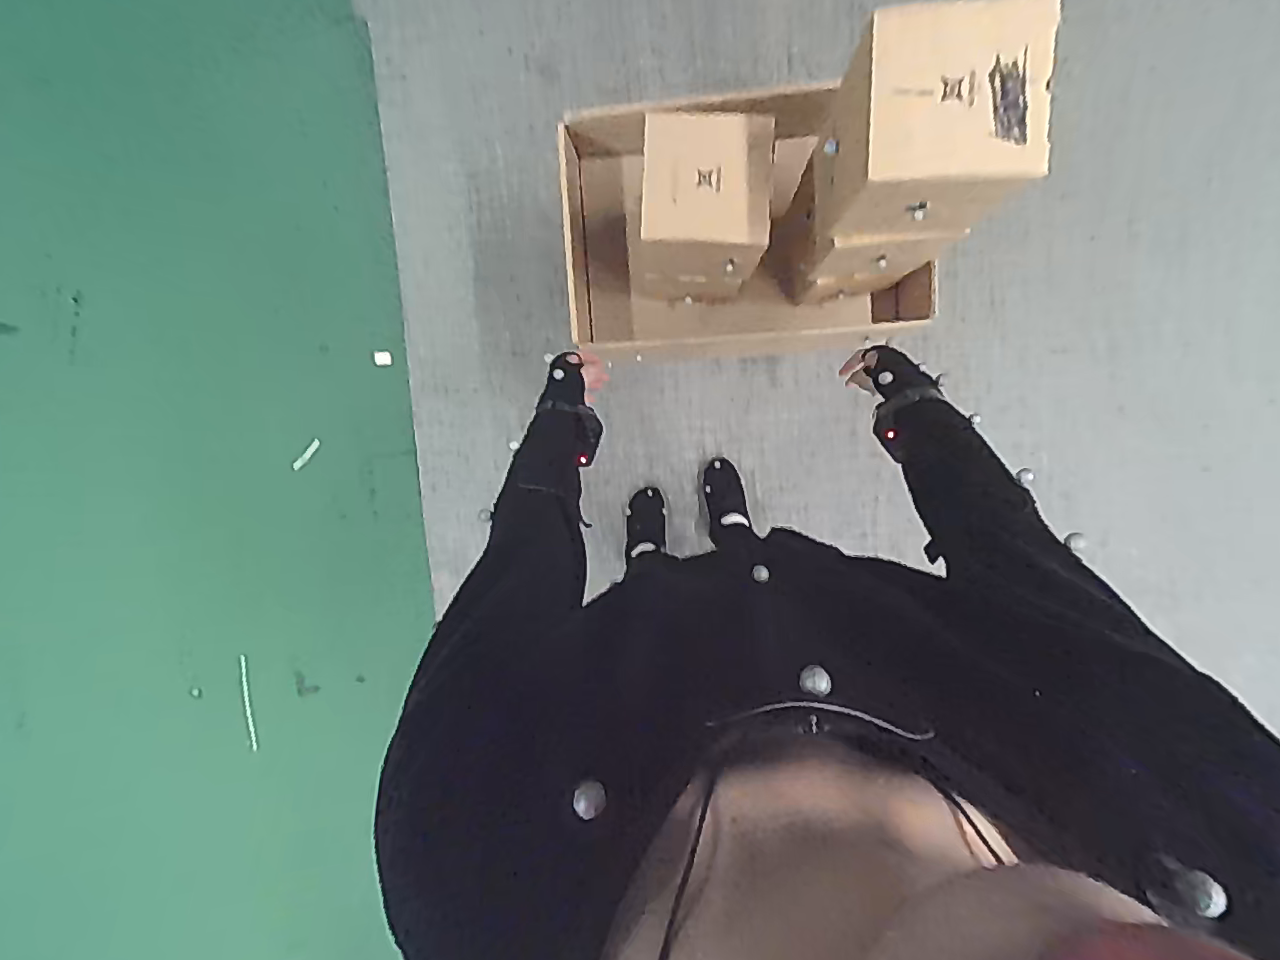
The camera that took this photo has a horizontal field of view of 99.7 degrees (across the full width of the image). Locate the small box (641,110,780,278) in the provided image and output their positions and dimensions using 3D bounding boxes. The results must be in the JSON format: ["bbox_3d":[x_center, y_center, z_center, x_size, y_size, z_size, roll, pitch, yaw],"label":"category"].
[{"bbox_3d":[0.095,-0.406,0.796,0.179,0.176,0.168,4,94,2],"label":"small box"}]

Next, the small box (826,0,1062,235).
[{"bbox_3d":[0.323,-0.389,0.610,0.179,0.176,0.168,1,96,6],"label":"small box"}]
